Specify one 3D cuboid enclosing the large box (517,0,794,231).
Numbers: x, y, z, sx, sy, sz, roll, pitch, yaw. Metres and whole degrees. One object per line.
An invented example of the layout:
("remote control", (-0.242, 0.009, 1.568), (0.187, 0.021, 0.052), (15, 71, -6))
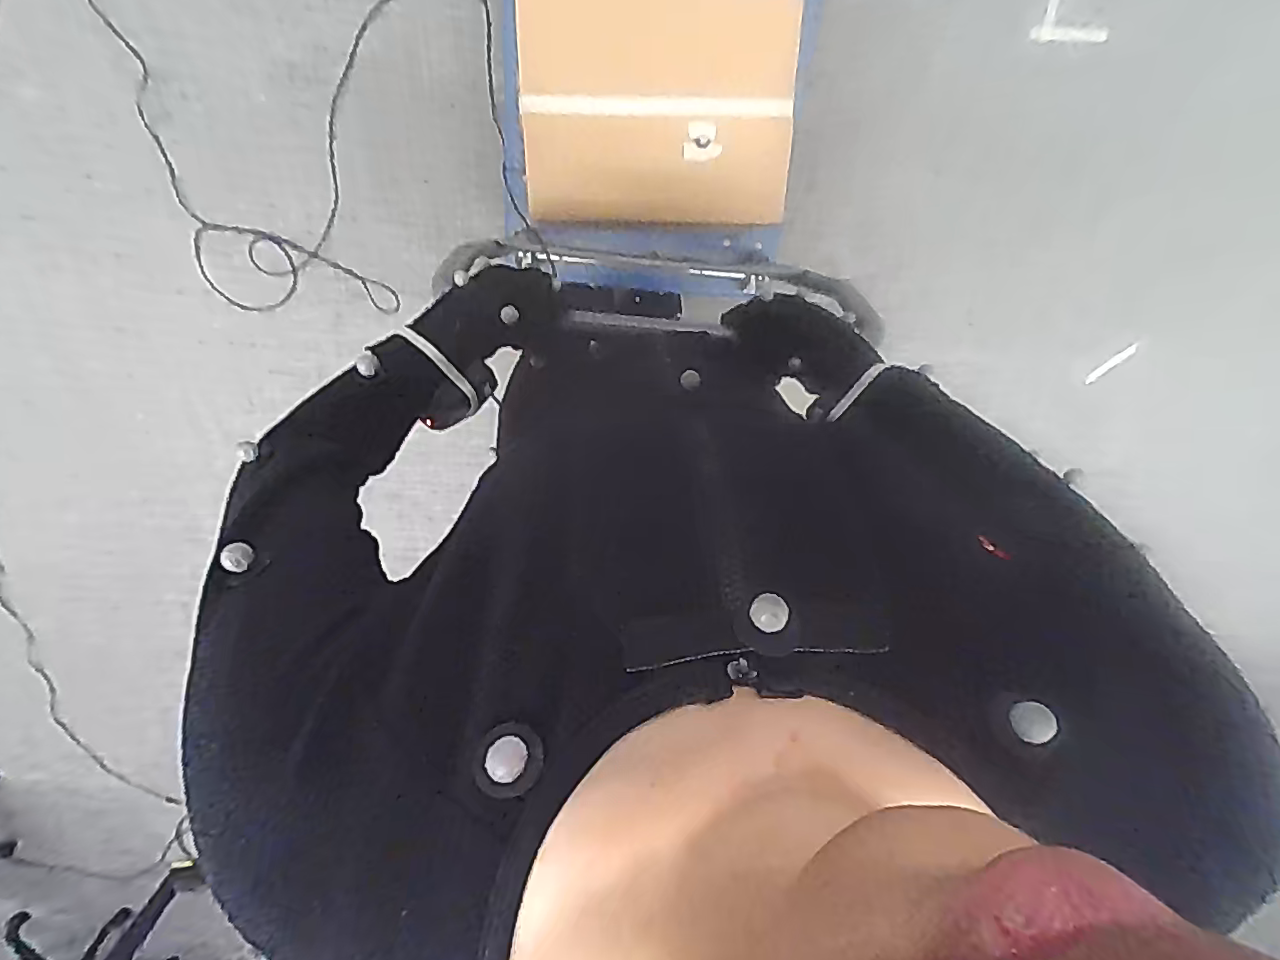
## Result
("large box", (0.016, -0.619, 0.953), (0.408, 0.320, 0.320), (-1, 113, -3))
